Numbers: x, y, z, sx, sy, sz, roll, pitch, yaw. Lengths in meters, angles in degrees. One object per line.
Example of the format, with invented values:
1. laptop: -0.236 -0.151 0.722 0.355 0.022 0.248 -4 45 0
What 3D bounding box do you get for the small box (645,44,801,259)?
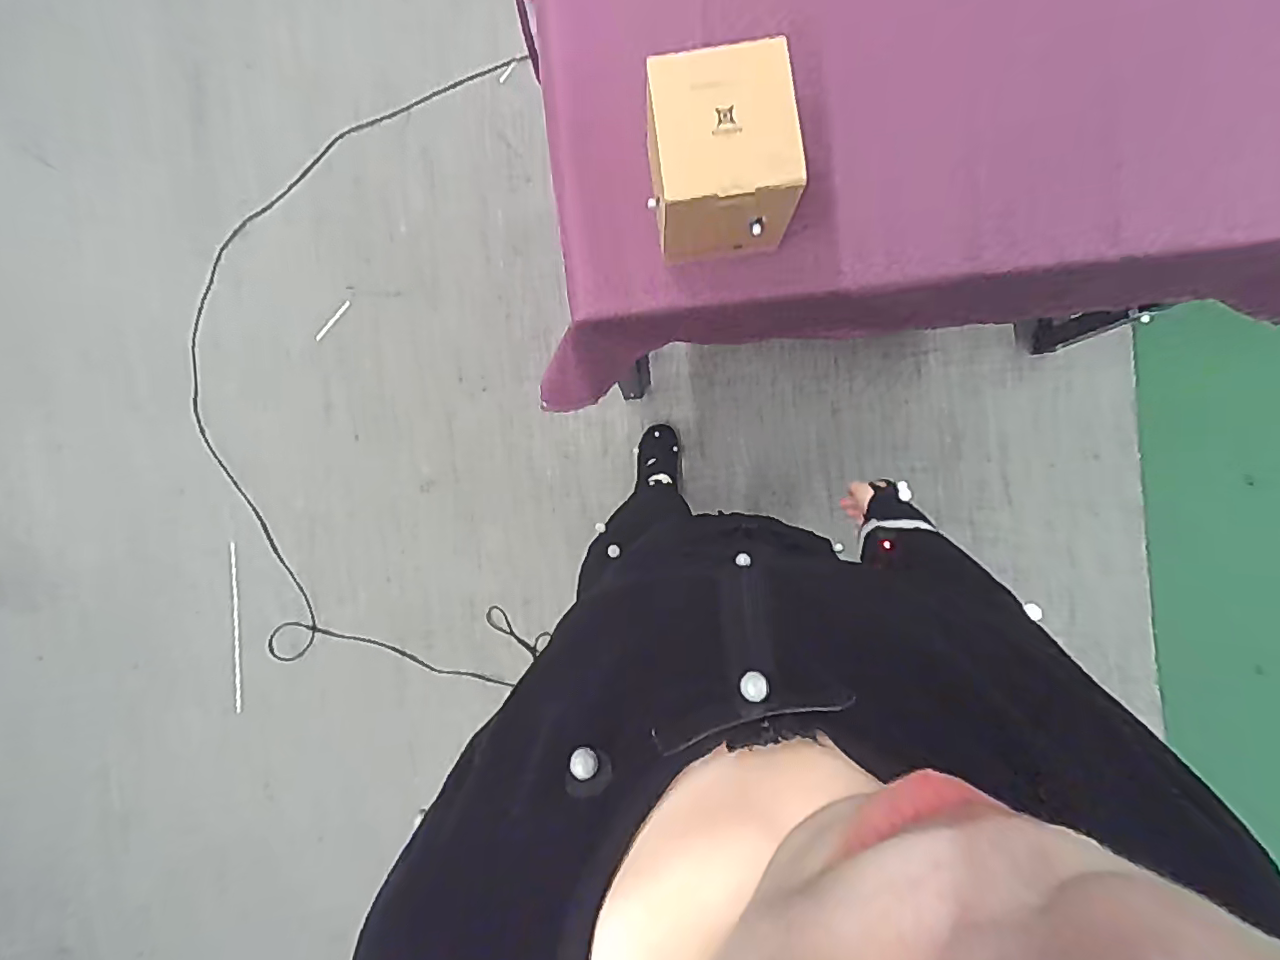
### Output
1. small box: 0.099 -0.407 0.704 0.168 0.176 0.179 -7 87 1
